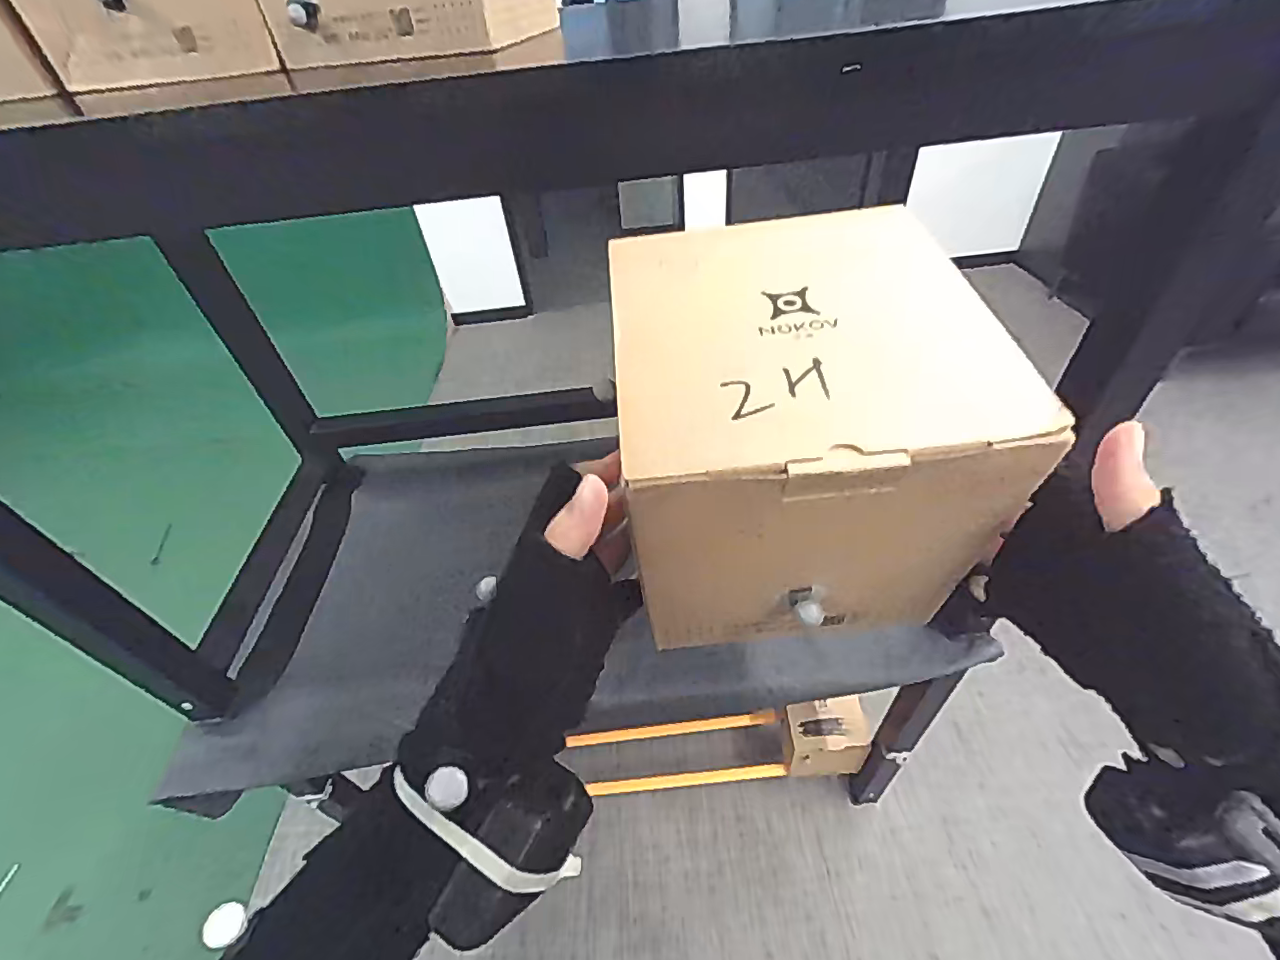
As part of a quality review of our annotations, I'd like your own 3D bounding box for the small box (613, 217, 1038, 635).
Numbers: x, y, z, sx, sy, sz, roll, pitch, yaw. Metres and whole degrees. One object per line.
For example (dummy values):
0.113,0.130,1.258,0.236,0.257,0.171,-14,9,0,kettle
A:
0.075,-0.027,0.324,0.168,0.176,0.179,-6,52,3,small box
